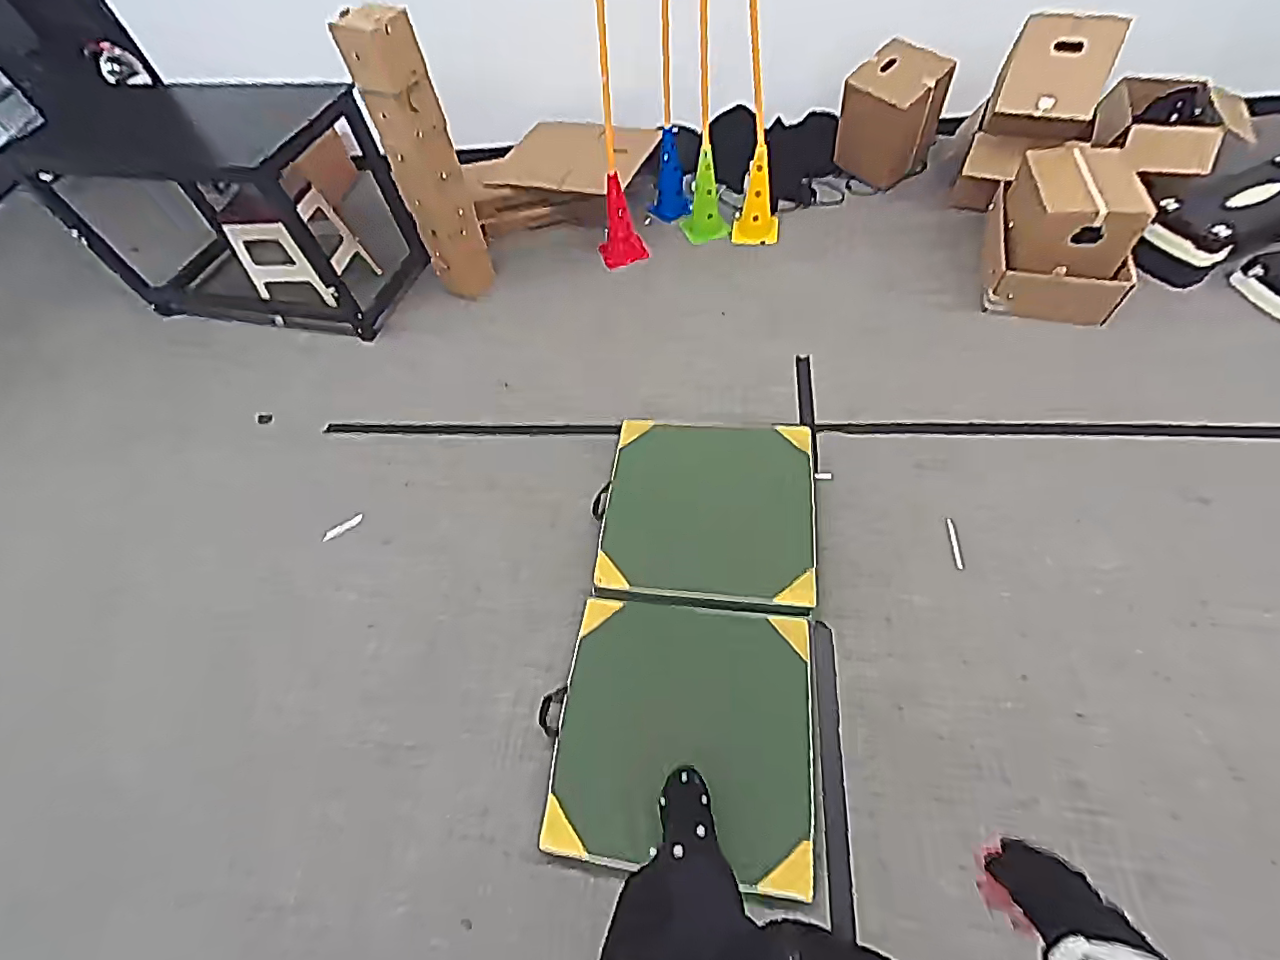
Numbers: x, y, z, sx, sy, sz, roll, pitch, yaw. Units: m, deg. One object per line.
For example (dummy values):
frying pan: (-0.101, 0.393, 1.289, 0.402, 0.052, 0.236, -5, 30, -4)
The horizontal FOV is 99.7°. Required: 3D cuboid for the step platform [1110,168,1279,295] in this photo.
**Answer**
step platform: (2.198, -0.948, 2.048, 0.684, 0.204, 0.286, -23, 57, -8)
